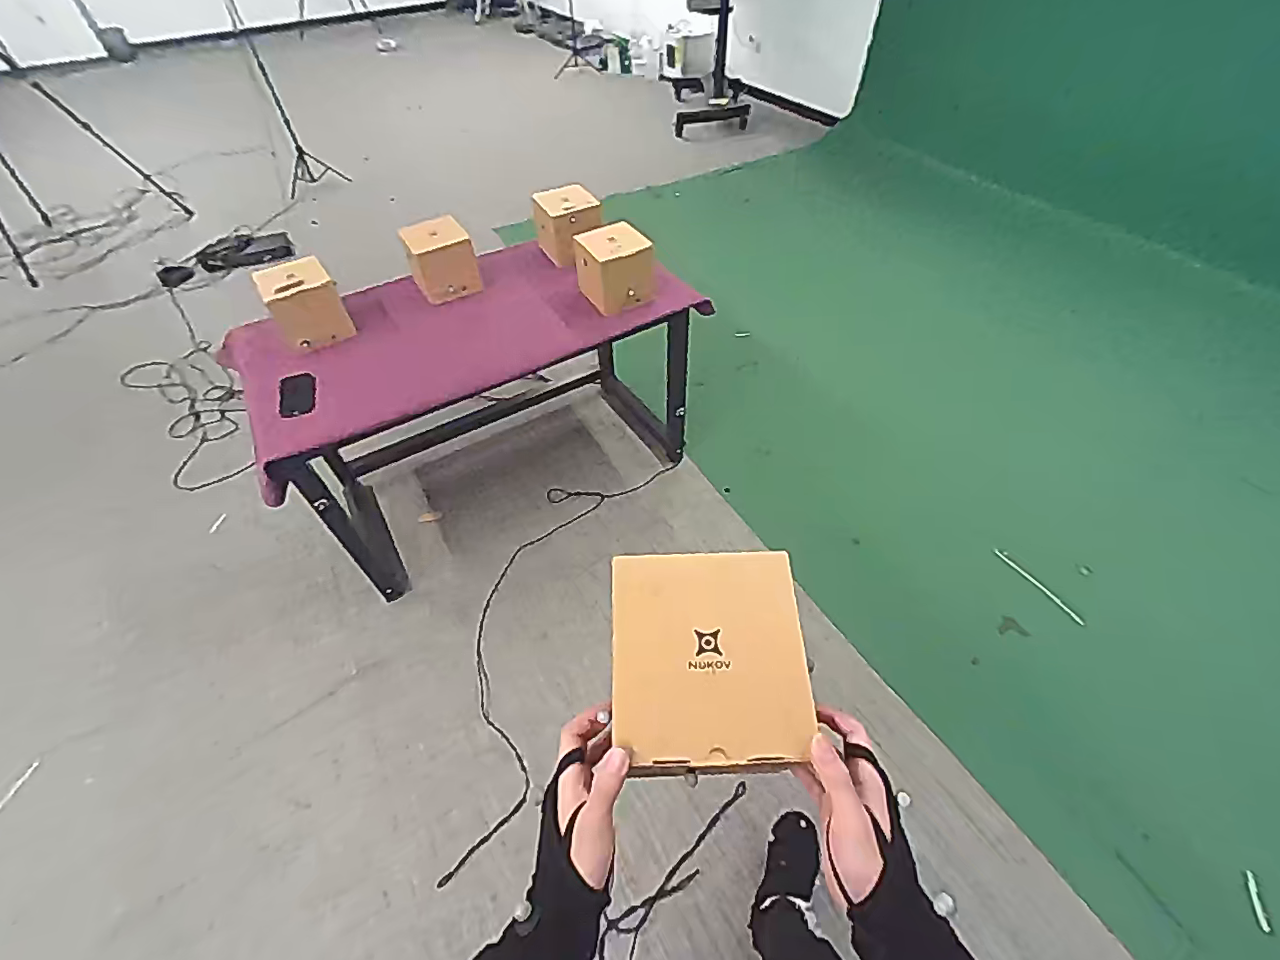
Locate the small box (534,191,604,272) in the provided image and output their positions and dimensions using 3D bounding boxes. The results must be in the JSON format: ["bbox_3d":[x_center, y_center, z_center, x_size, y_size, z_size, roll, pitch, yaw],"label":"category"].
[{"bbox_3d":[-0.222,-0.796,1.735,0.168,0.176,0.179,-24,52,-17],"label":"small box"}]

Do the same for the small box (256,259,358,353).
[{"bbox_3d":[-0.900,-0.467,1.473,0.168,0.176,0.179,-29,54,-22],"label":"small box"}]

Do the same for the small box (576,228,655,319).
[{"bbox_3d":[-0.068,-0.591,1.549,0.168,0.176,0.179,-24,53,-16],"label":"small box"}]

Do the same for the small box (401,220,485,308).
[{"bbox_3d":[-0.585,-0.643,1.616,0.168,0.176,0.179,-26,54,-18],"label":"small box"}]

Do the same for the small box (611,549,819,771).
[{"bbox_3d":[0.055,0.180,0.528,0.168,0.176,0.179,-1,60,-1],"label":"small box"}]
